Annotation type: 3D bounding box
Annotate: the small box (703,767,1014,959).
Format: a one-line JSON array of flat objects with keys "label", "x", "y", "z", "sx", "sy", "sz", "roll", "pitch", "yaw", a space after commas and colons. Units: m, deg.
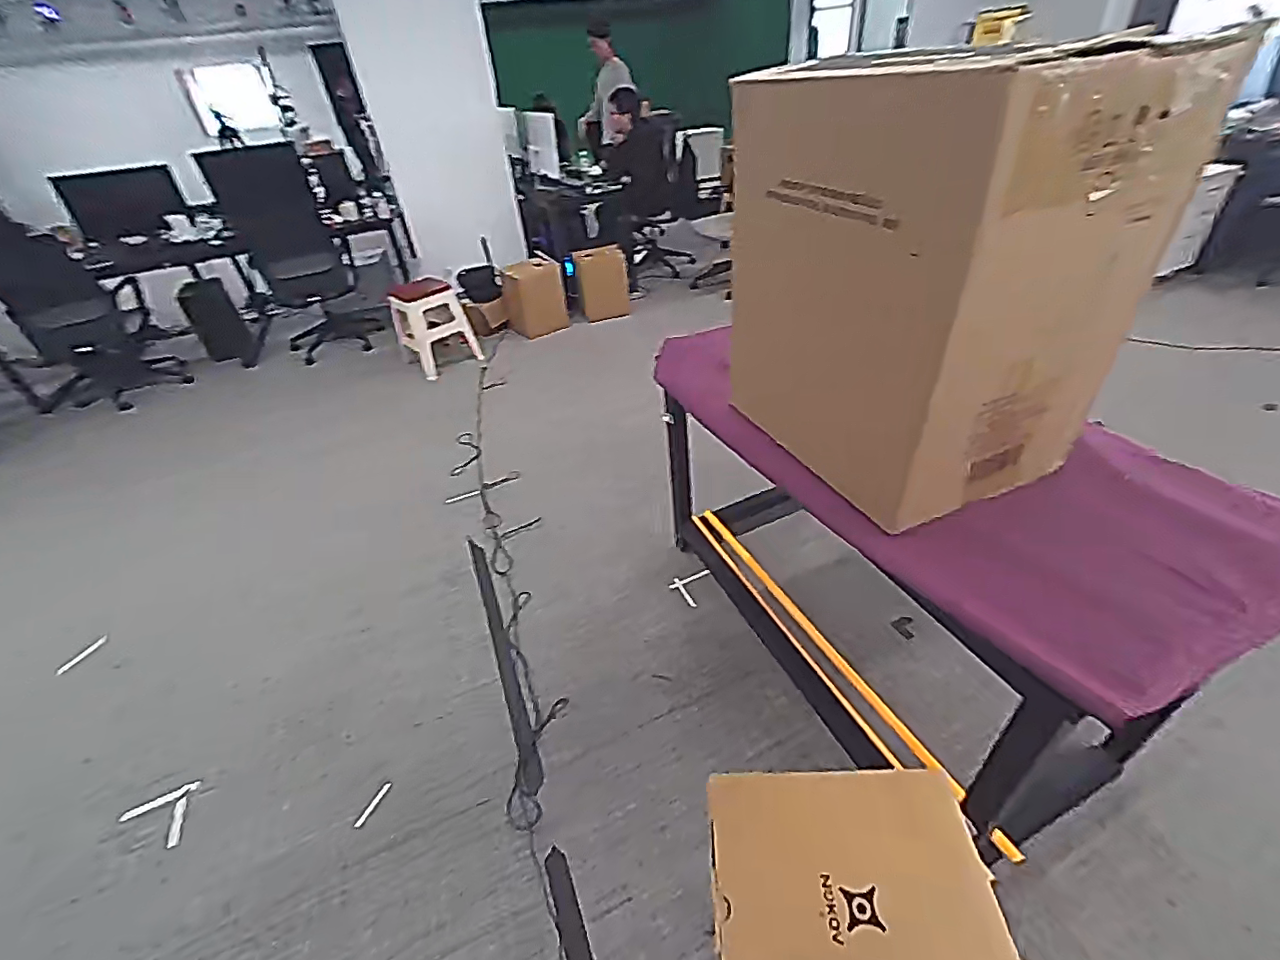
[{"label": "small box", "x": 0.140, "y": 0.330, "z": 0.392, "sx": 0.179, "sy": 0.176, "sz": 0.168, "roll": -5, "pitch": 38, "yaw": 5}]
